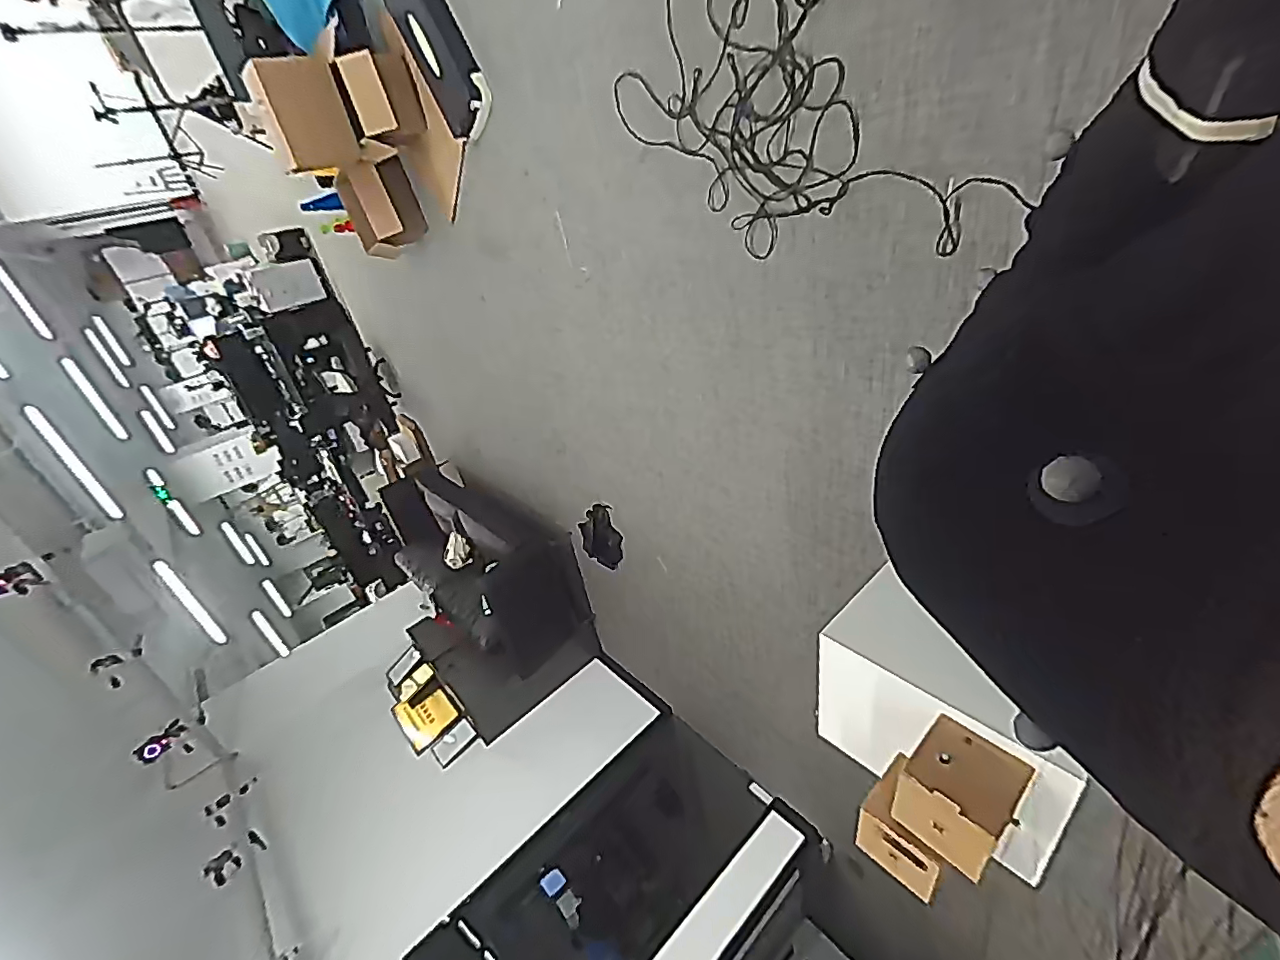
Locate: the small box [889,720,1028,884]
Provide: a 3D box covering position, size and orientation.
[{"bbox_3d":[0.601,0.598,1.024,0.168,0.176,0.179,28,139,44],"label":"small box"}]
